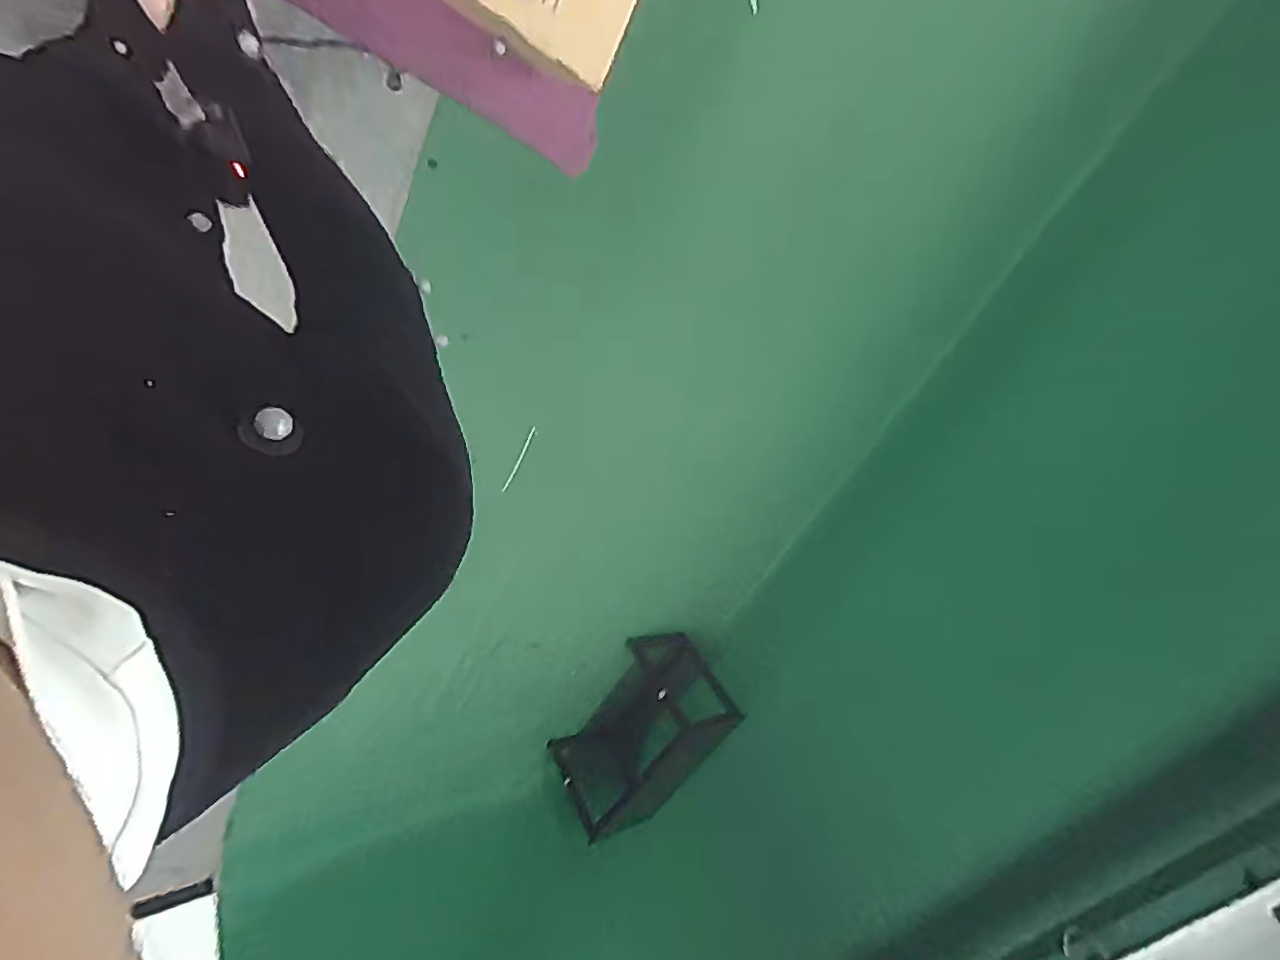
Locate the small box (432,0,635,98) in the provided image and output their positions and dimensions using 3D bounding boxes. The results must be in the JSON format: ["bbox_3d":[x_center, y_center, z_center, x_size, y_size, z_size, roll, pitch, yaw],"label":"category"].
[{"bbox_3d":[-0.114,-0.568,0.593,0.168,0.176,0.179,9,121,-43],"label":"small box"}]
